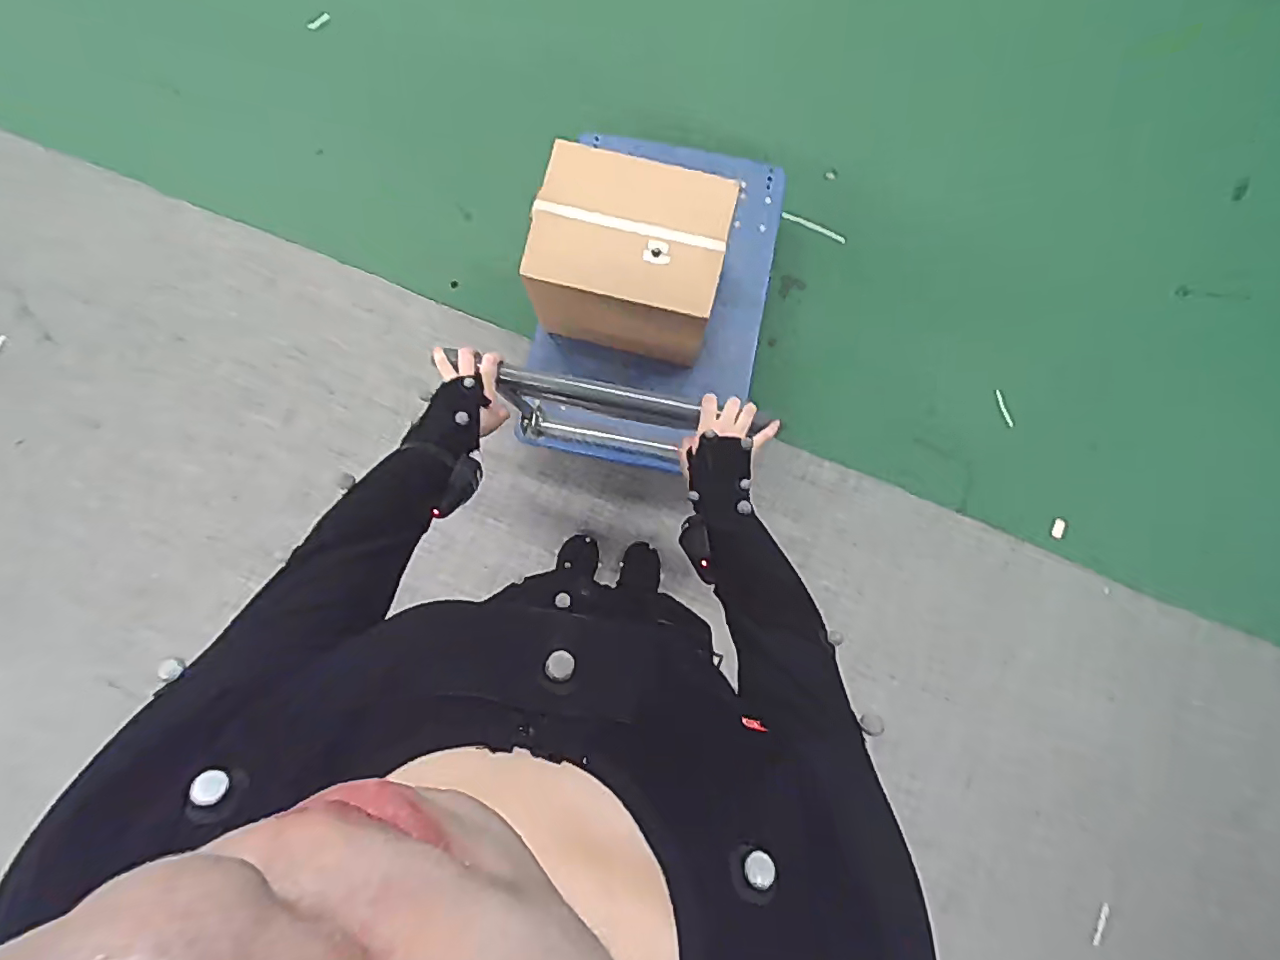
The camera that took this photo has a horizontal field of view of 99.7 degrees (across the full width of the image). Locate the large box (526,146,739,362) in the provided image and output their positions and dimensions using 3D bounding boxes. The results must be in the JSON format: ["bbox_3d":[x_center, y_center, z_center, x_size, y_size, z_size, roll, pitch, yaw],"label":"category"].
[{"bbox_3d":[-0.019,-0.511,1.286,0.408,0.320,0.320,14,84,0],"label":"large box"}]
